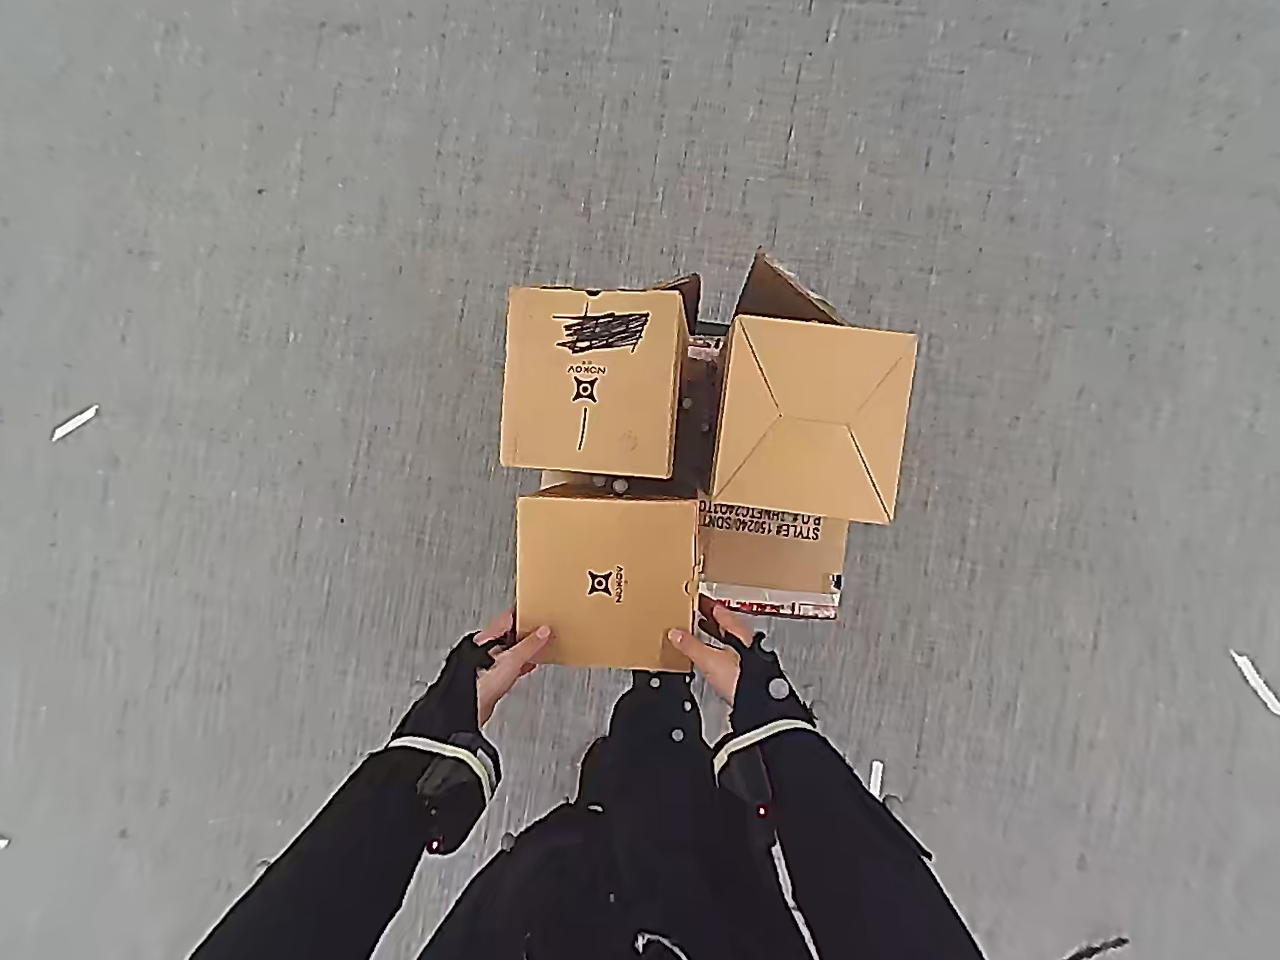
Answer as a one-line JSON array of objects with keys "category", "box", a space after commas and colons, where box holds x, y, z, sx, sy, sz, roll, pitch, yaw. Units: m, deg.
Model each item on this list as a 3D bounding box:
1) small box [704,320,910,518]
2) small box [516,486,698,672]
[{"category": "small box", "box": [0.162, -0.055, 0.574, 0.168, 0.176, 0.179, 7, 92, 2]}, {"category": "small box", "box": [-0.027, 0.096, 0.599, 0.179, 0.176, 0.168, 1, 93, 4]}]
